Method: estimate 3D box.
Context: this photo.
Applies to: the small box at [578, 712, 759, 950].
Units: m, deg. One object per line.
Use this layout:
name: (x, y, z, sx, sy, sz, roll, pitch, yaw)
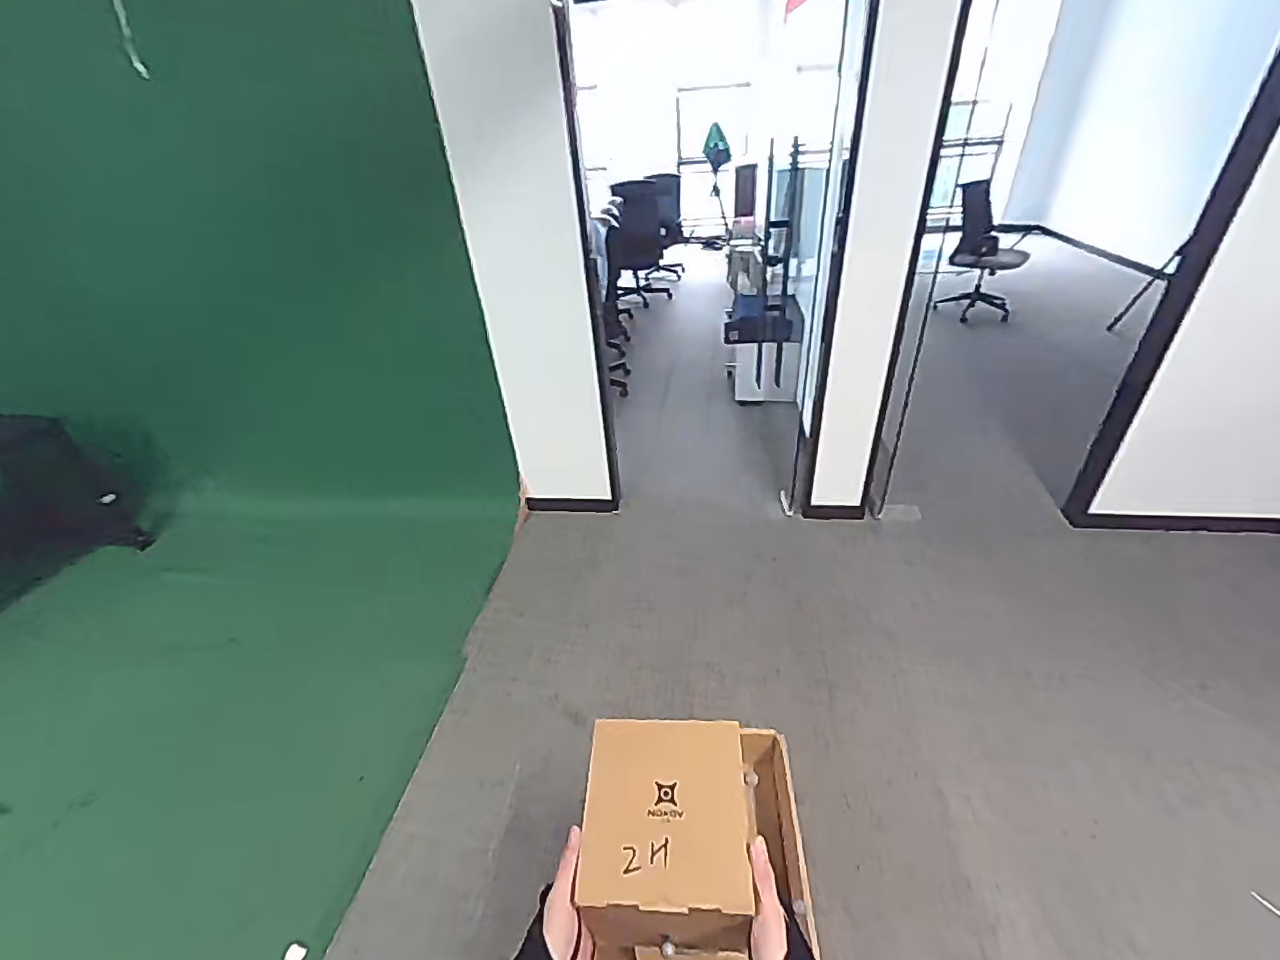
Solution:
small box: (0.034, 0.383, 0.597, 0.168, 0.176, 0.179, -1, 40, 5)
